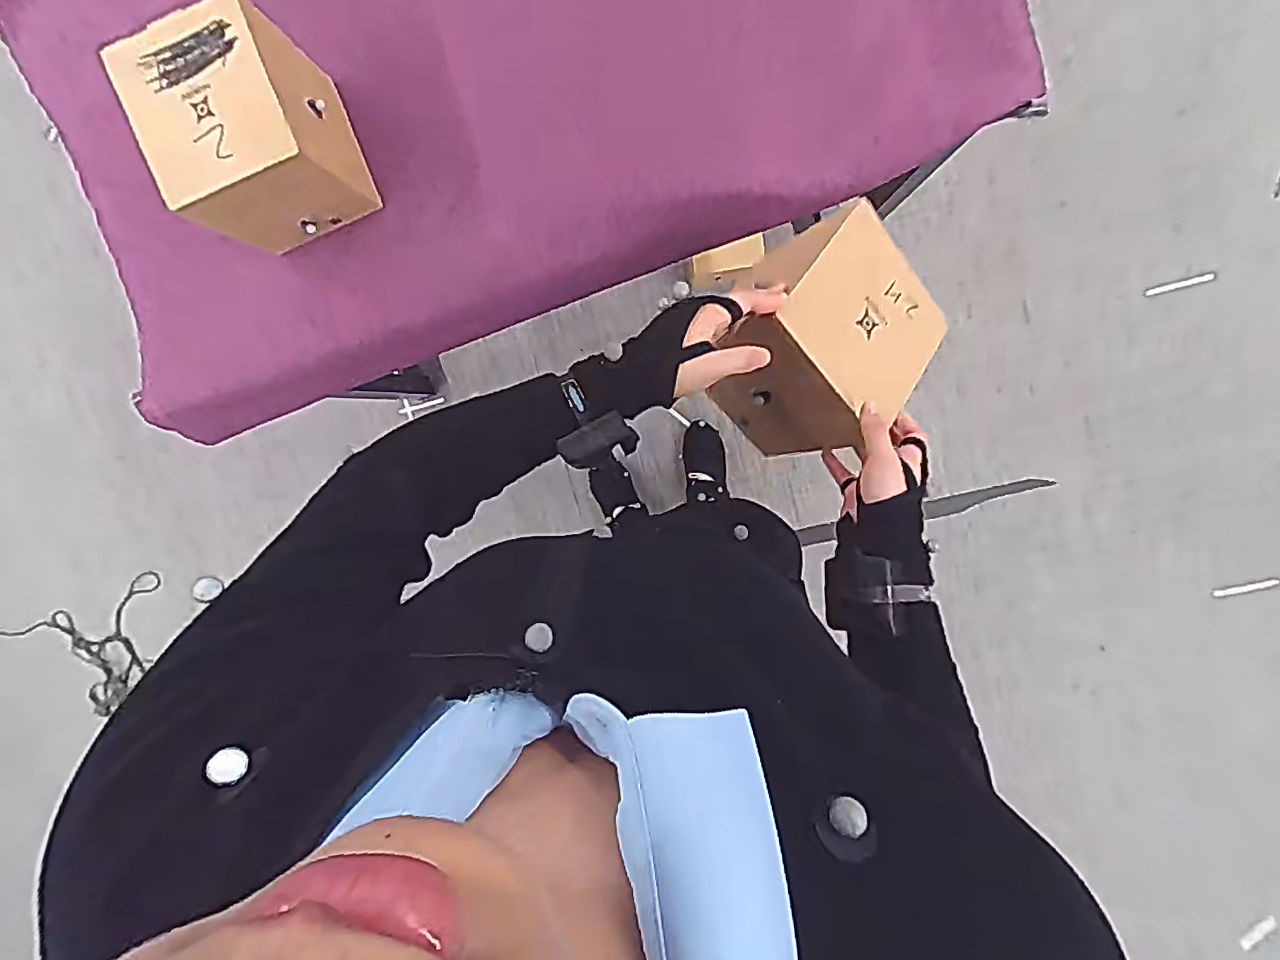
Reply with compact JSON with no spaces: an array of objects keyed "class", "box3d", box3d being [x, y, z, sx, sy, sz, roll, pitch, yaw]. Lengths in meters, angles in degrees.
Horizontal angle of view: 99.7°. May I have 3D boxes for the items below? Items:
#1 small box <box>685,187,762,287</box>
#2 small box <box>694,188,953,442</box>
[{"class":"small box","box3d":[0.202,-0.580,1.316,0.168,0.176,0.179,-6,96,6]},{"class":"small box","box3d":[0.182,-0.156,0.578,0.168,0.176,0.179,43,71,-19]}]
